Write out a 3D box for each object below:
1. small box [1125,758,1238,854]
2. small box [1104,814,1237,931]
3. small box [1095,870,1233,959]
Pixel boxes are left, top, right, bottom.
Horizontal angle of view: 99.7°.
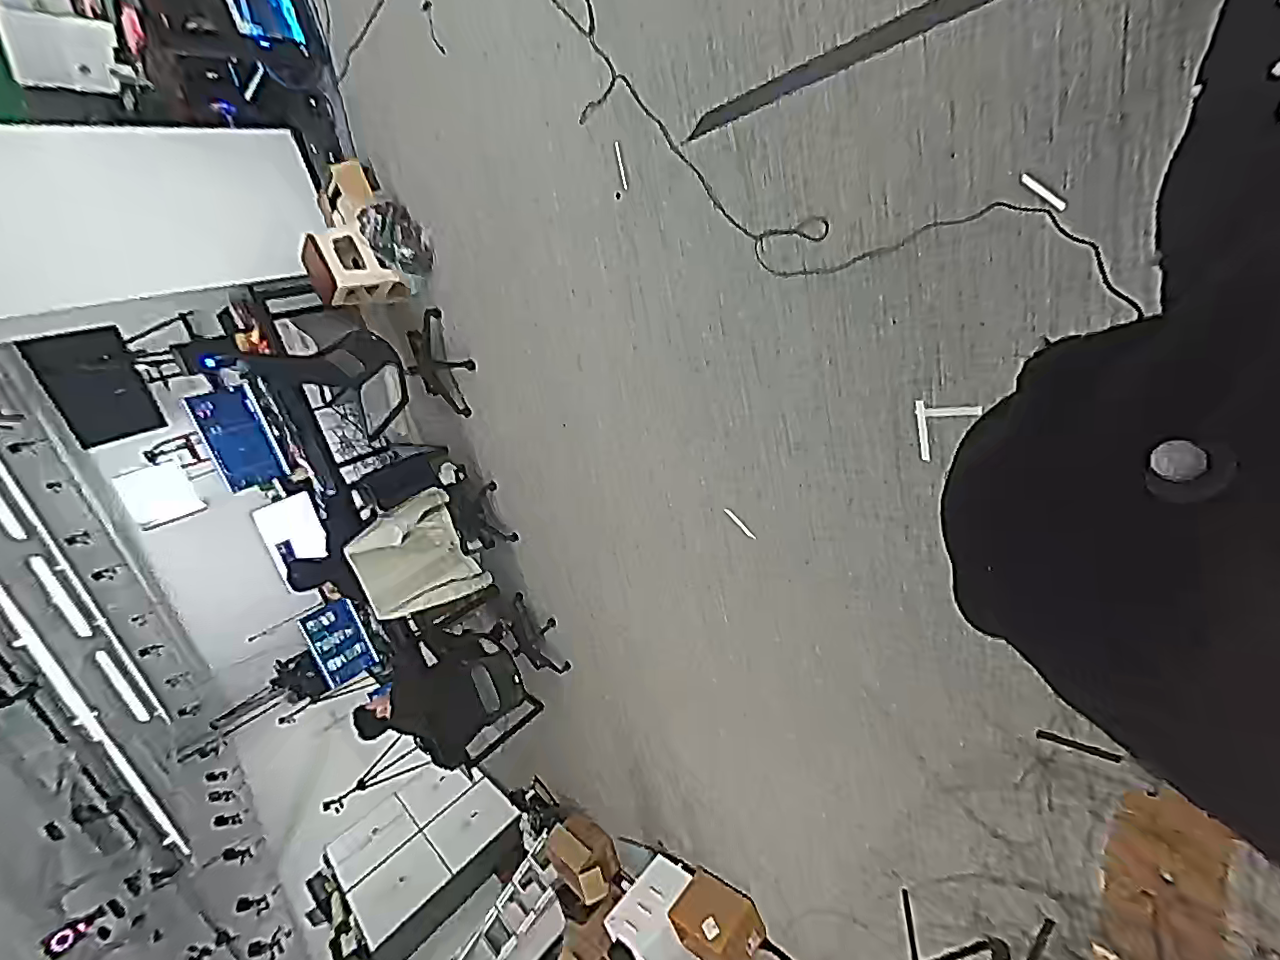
[{"bbox_3d":[1.181,0.755,1.184,0.168,0.176,0.179,4,117,49],"label":"small box"},{"bbox_3d":[1.065,0.820,1.089,0.179,0.176,0.168,4,115,48],"label":"small box"},{"bbox_3d":[0.952,0.877,0.984,0.168,0.176,0.179,3,115,49],"label":"small box"}]
